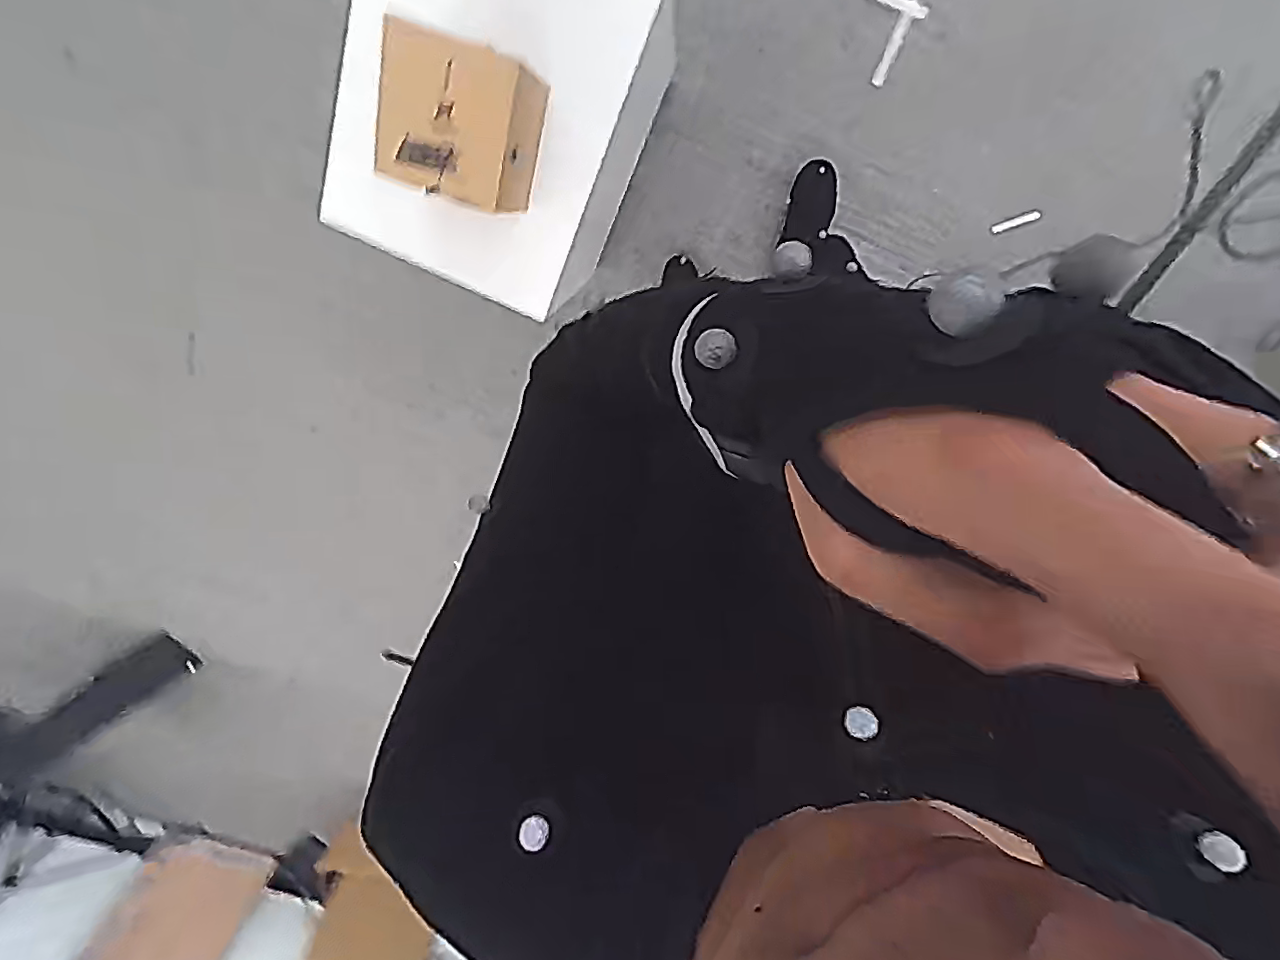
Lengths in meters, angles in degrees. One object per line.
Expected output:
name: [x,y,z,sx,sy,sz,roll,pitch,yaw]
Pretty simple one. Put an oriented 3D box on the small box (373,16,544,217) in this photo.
small box: [-0.241,-0.481,0.746,0.168,0.176,0.179,16,116,-4]
